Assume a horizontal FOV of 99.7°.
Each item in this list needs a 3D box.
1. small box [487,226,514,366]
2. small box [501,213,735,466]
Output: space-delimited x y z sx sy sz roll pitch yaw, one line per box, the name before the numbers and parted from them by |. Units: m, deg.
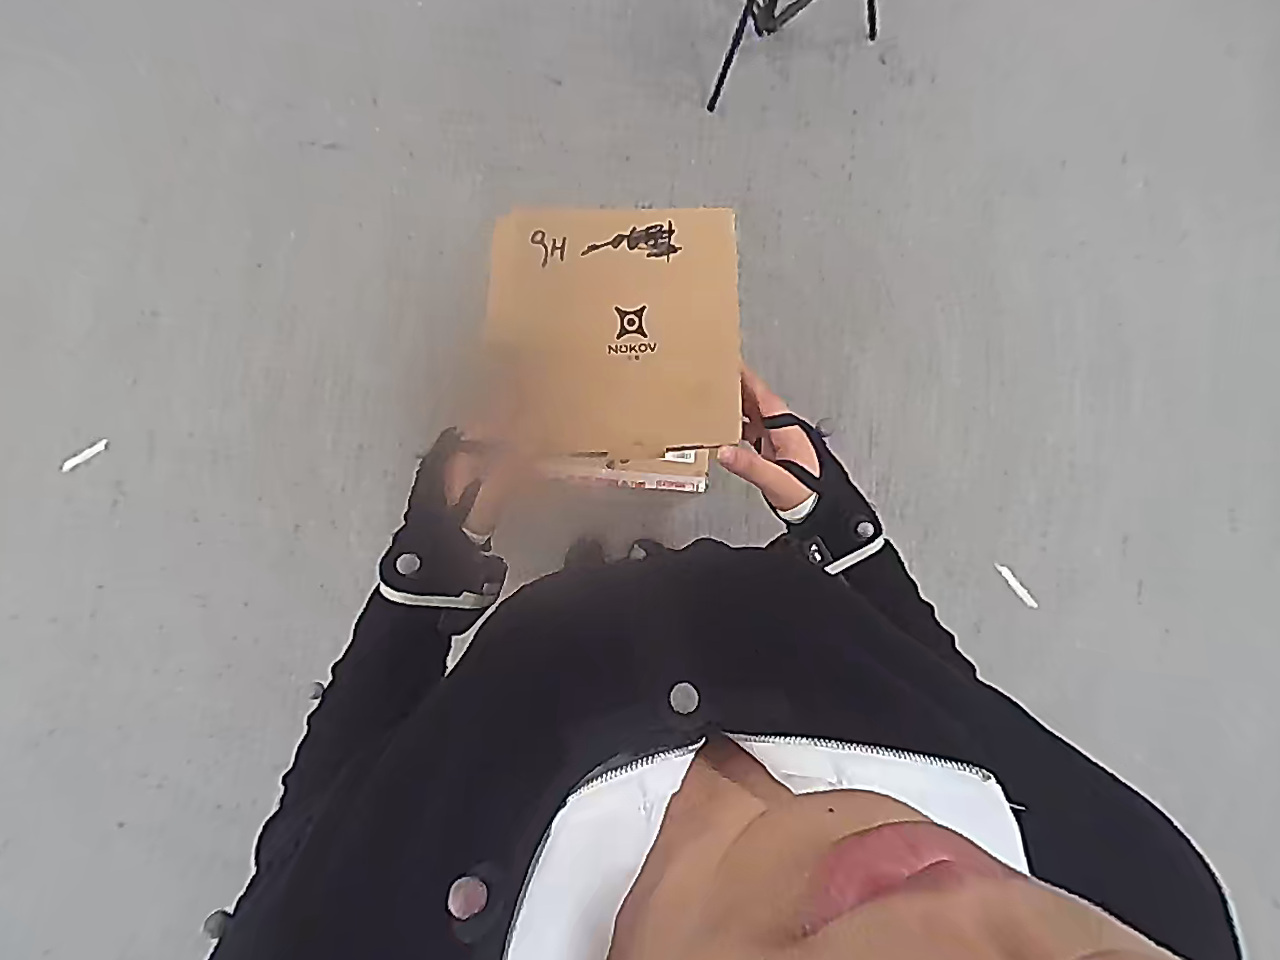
small box | -0.118 -0.254 0.808 0.168 0.176 0.179 5 87 0
small box | -0.021 -0.115 0.472 0.168 0.176 0.179 -5 100 -7
